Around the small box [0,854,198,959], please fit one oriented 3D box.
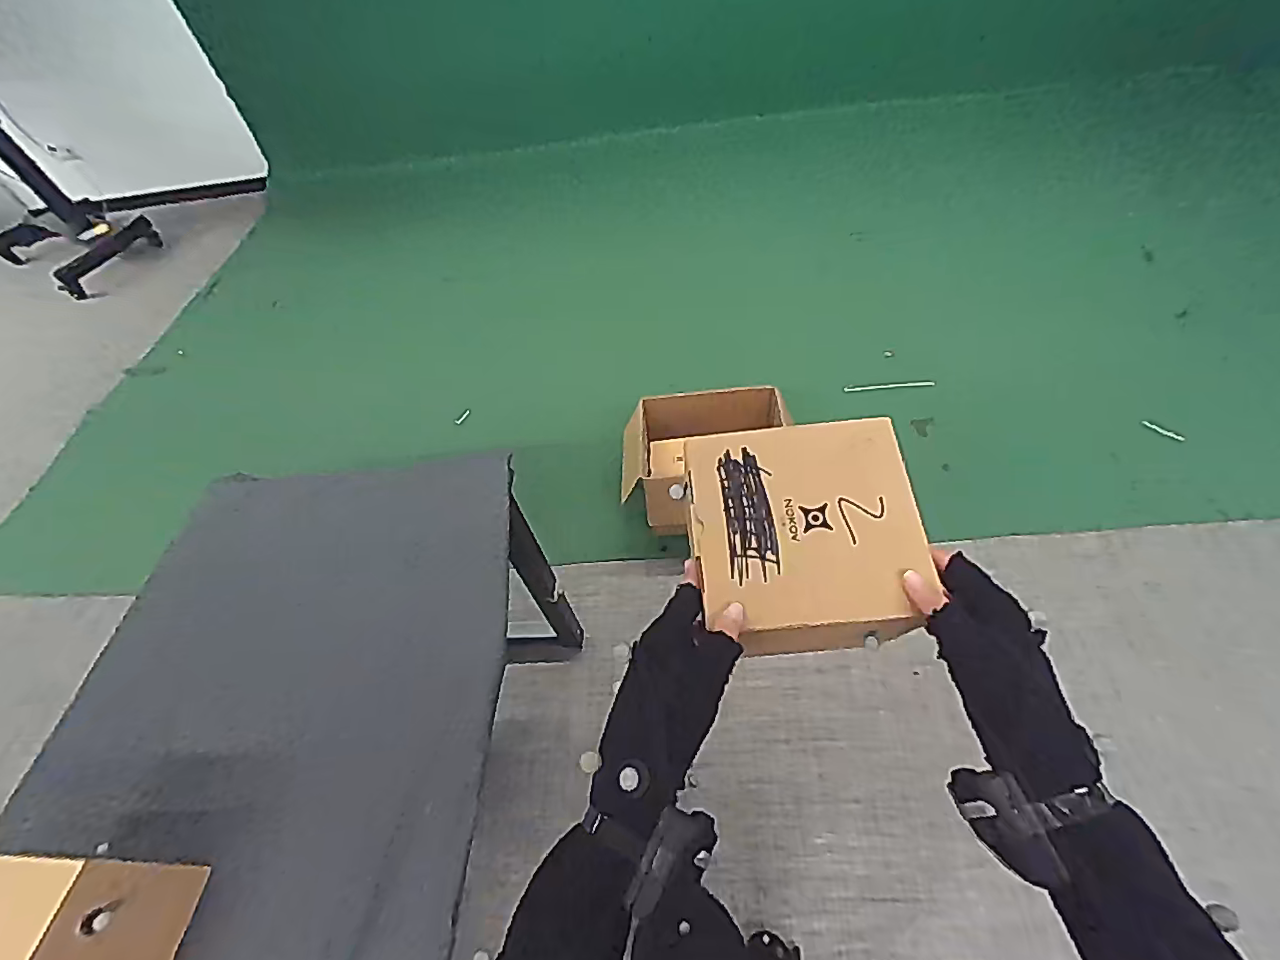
[{"bbox_3d":[-0.601,0.487,0.538,0.168,0.176,0.179,-2,53,7],"label":"small box"}]
